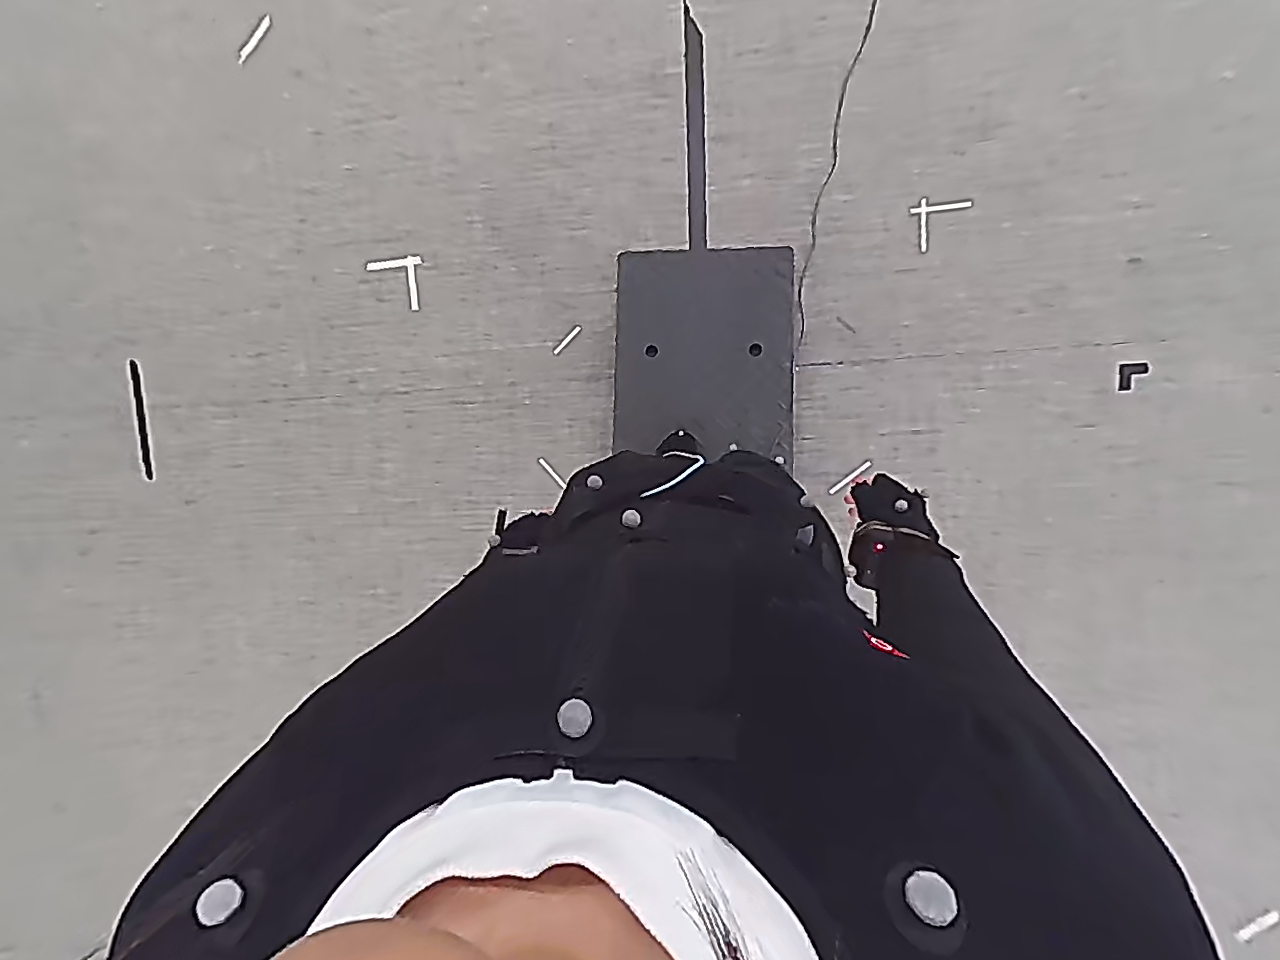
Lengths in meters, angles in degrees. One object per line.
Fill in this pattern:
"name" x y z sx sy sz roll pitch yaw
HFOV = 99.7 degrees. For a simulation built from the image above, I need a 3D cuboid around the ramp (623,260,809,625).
"ramp" 0.195 -0.117 1.485 0.509 0.206 0.991 -2 93 9
